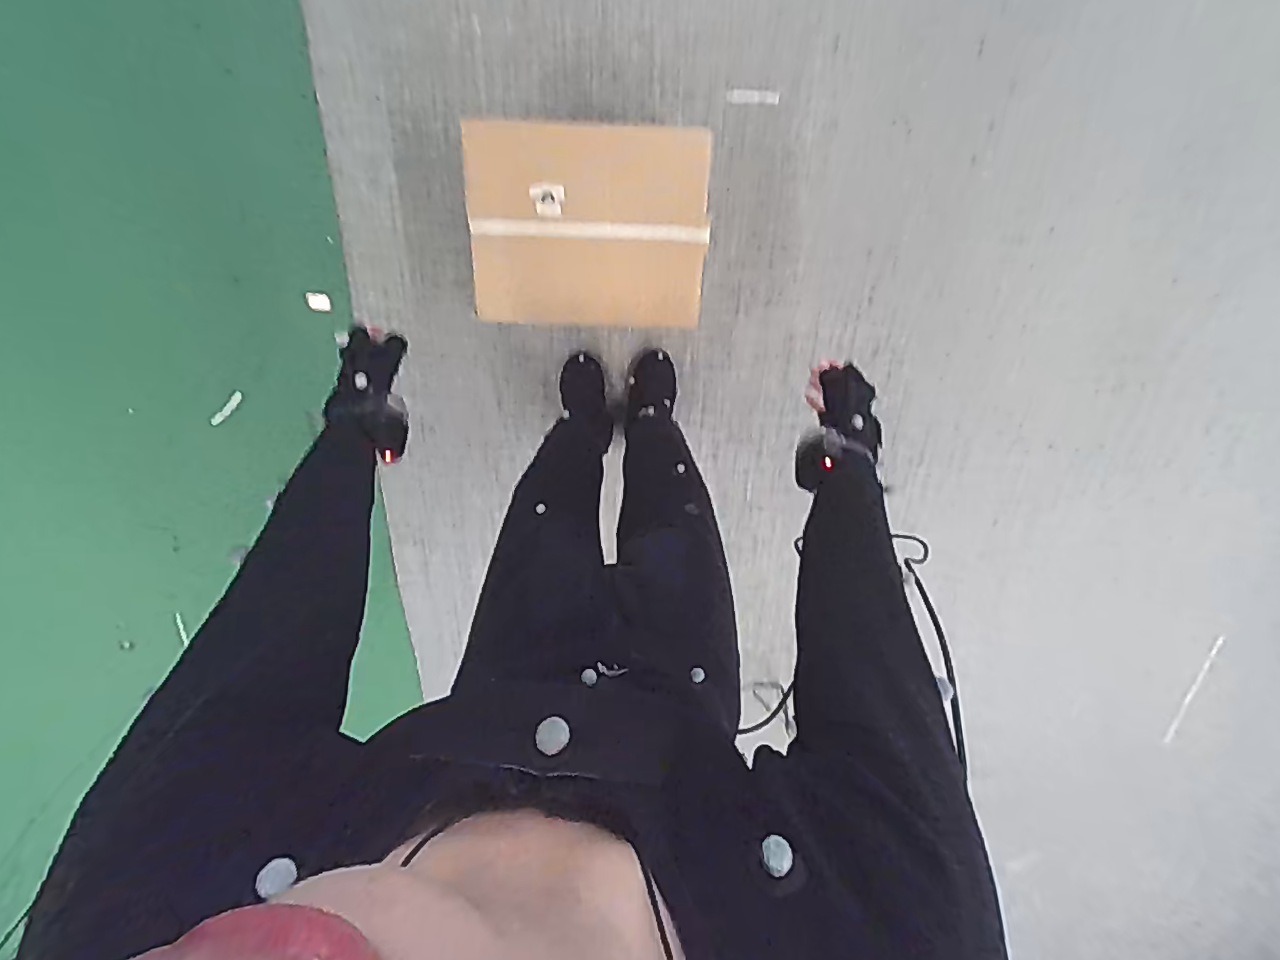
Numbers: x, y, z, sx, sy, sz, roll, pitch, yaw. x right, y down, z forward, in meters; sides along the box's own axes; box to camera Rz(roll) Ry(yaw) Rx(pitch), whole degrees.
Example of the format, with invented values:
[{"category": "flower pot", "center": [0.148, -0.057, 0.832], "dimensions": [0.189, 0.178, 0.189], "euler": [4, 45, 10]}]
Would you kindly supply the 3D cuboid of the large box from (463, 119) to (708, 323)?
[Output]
[{"category": "large box", "center": [-0.091, -0.492, 1.061], "dimensions": [0.408, 0.320, 0.320], "euler": [2, 113, -2]}]
